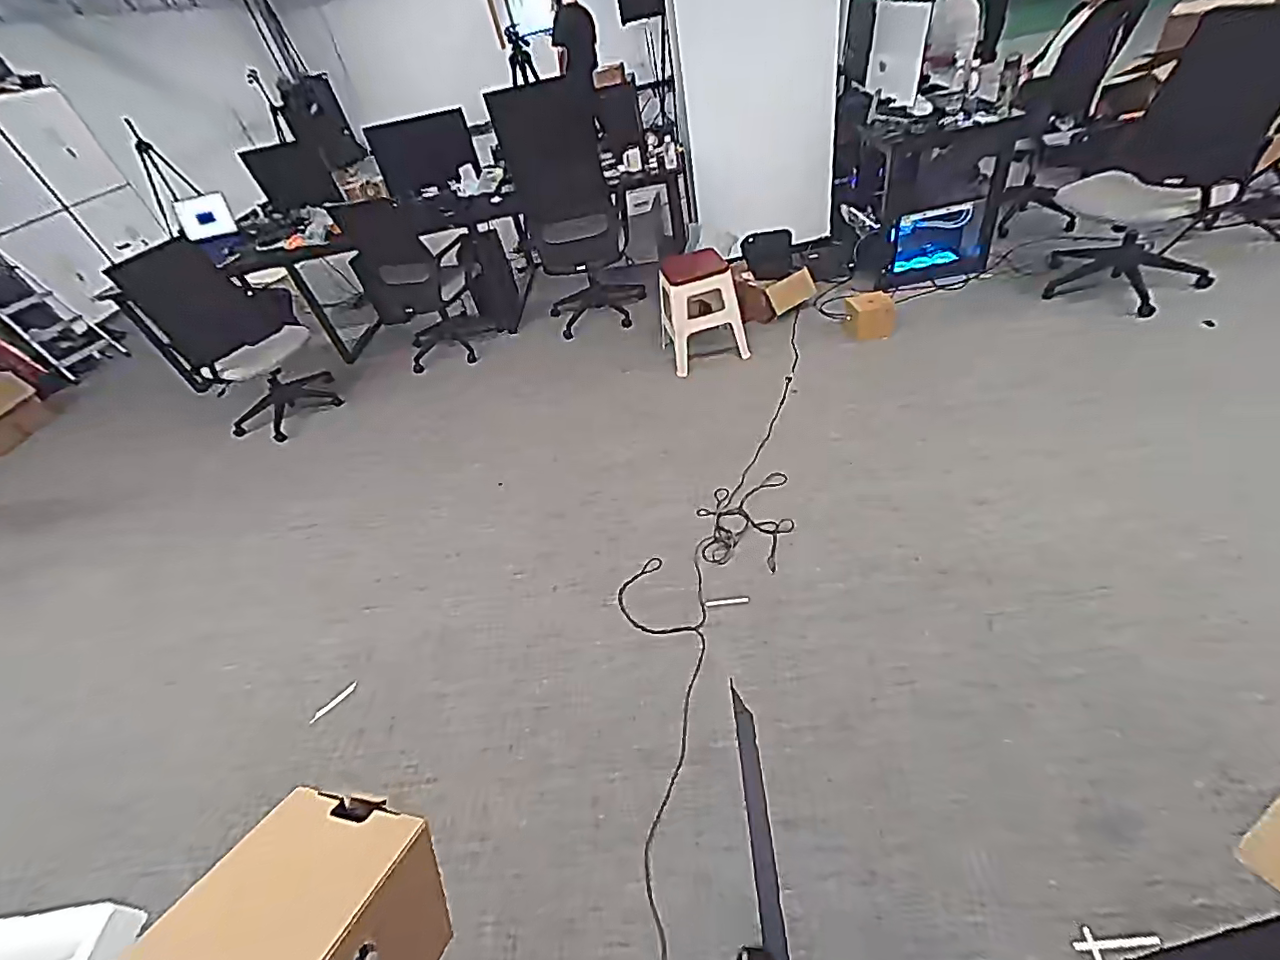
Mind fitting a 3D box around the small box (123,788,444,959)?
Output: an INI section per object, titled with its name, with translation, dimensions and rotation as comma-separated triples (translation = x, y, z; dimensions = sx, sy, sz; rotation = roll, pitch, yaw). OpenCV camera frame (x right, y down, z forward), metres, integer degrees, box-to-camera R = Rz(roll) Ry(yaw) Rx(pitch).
[small box]
translation = -0.307, 0.437, 0.504
dimensions = 0.168, 0.176, 0.179
rotation = 3, 17, 17
